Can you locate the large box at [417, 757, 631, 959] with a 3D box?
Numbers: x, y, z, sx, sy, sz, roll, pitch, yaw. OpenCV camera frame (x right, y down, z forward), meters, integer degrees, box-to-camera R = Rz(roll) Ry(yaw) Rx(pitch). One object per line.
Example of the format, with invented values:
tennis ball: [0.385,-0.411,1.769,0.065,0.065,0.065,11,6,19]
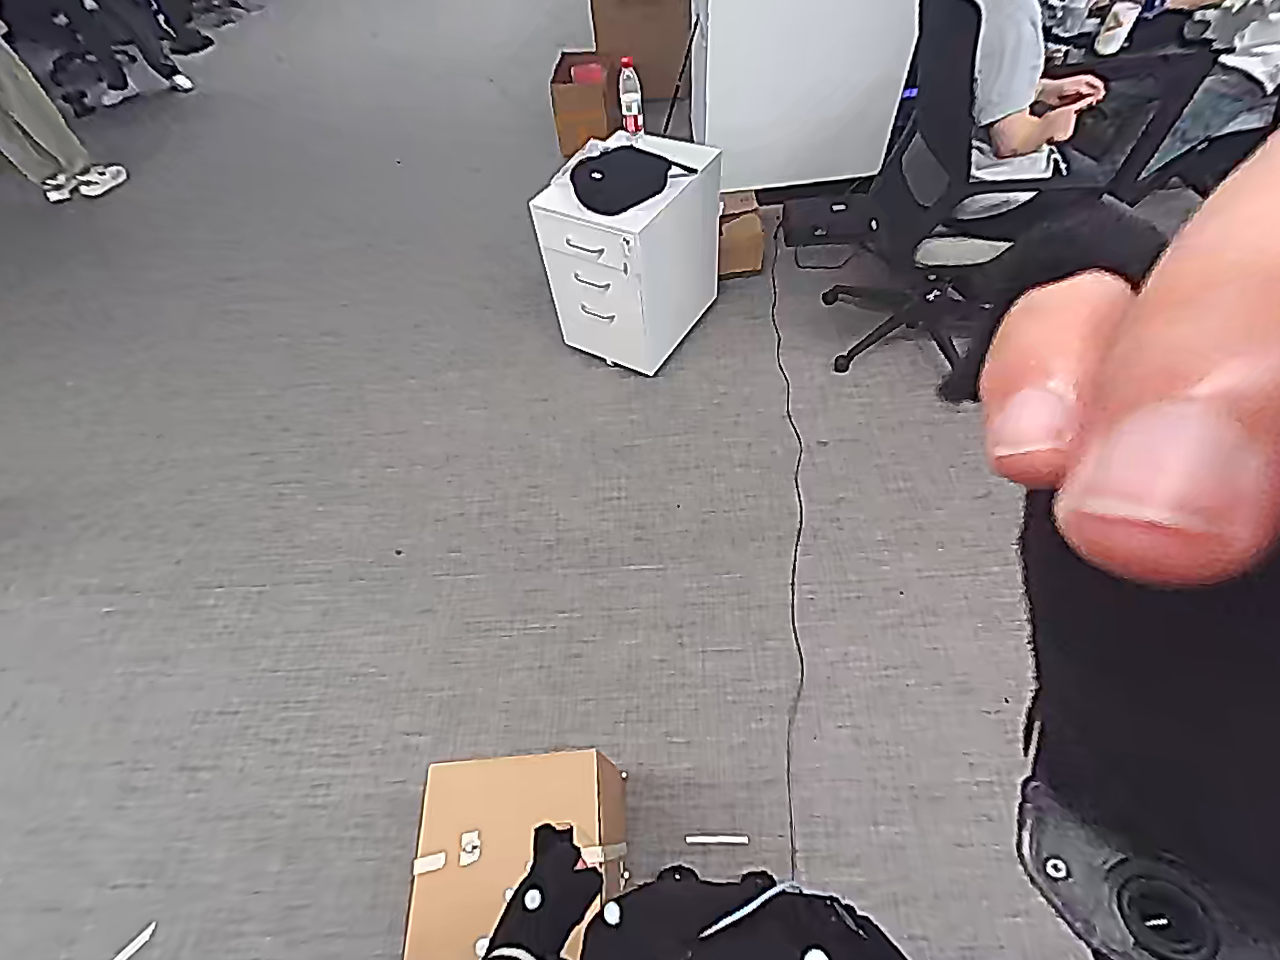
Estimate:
large box: [-0.197,0.745,1.056,0.320,0.408,0.320,-5,57,2]
